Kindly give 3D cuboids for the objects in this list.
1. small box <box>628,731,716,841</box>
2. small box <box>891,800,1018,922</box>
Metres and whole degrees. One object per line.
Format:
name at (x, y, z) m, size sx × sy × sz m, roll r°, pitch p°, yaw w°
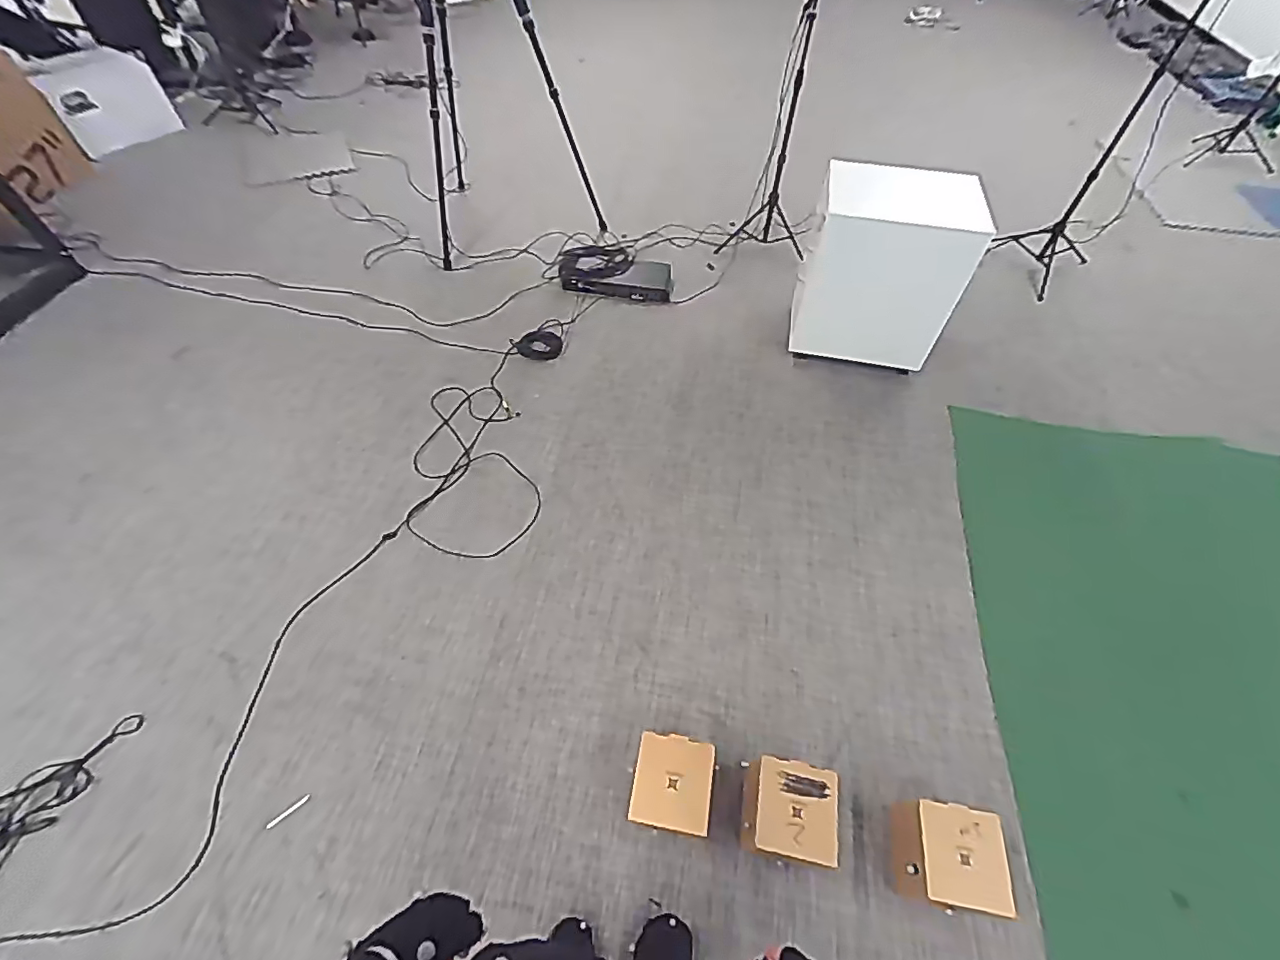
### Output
small box at (0.071, 0.686, 1.204) m, size 0.168 × 0.176 × 0.179 m, roll 9°, pitch 53°, yaw 6°
small box at (0.646, 0.796, 1.136) m, size 0.168 × 0.176 × 0.179 m, roll 10°, pitch 54°, yaw 5°
